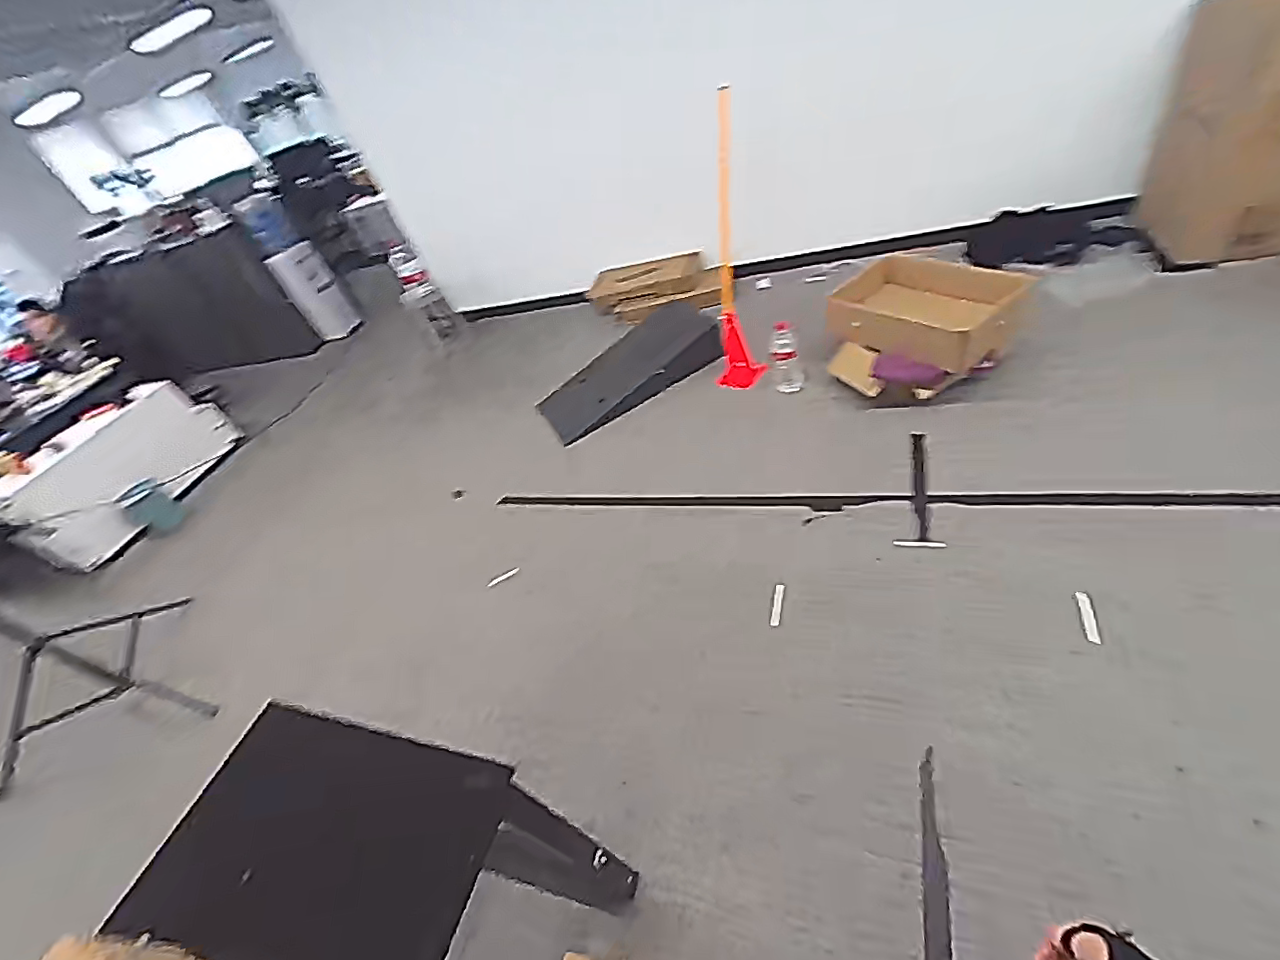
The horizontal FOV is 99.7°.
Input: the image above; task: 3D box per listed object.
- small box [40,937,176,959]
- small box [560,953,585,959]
[{"bbox_3d":[-0.667,0.699,0.654,0.168,0.176,0.179,-1,46,25],"label":"small box"},{"bbox_3d":[-0.080,1.090,1.082,0.179,0.176,0.168,-1,46,24],"label":"small box"}]
